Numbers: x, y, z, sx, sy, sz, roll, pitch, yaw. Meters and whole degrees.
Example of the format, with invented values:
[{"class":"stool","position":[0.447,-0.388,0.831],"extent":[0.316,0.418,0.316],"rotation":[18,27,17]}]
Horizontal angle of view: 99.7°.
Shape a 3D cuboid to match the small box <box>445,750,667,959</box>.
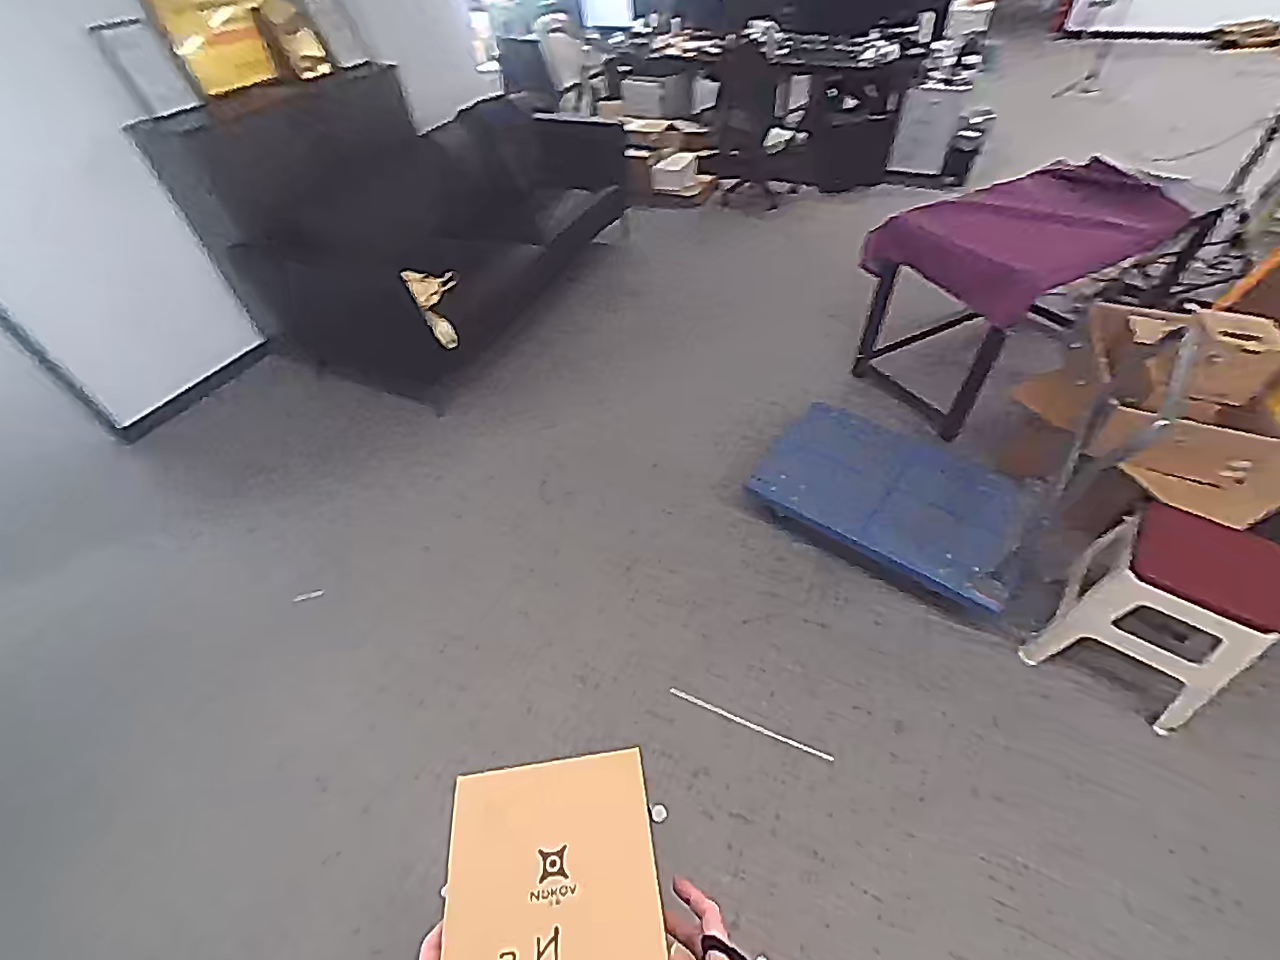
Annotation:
[{"class":"small box","position":[-0.068,0.375,0.493],"extent":[0.168,0.176,0.179],"rotation":[-5,44,-4]}]
